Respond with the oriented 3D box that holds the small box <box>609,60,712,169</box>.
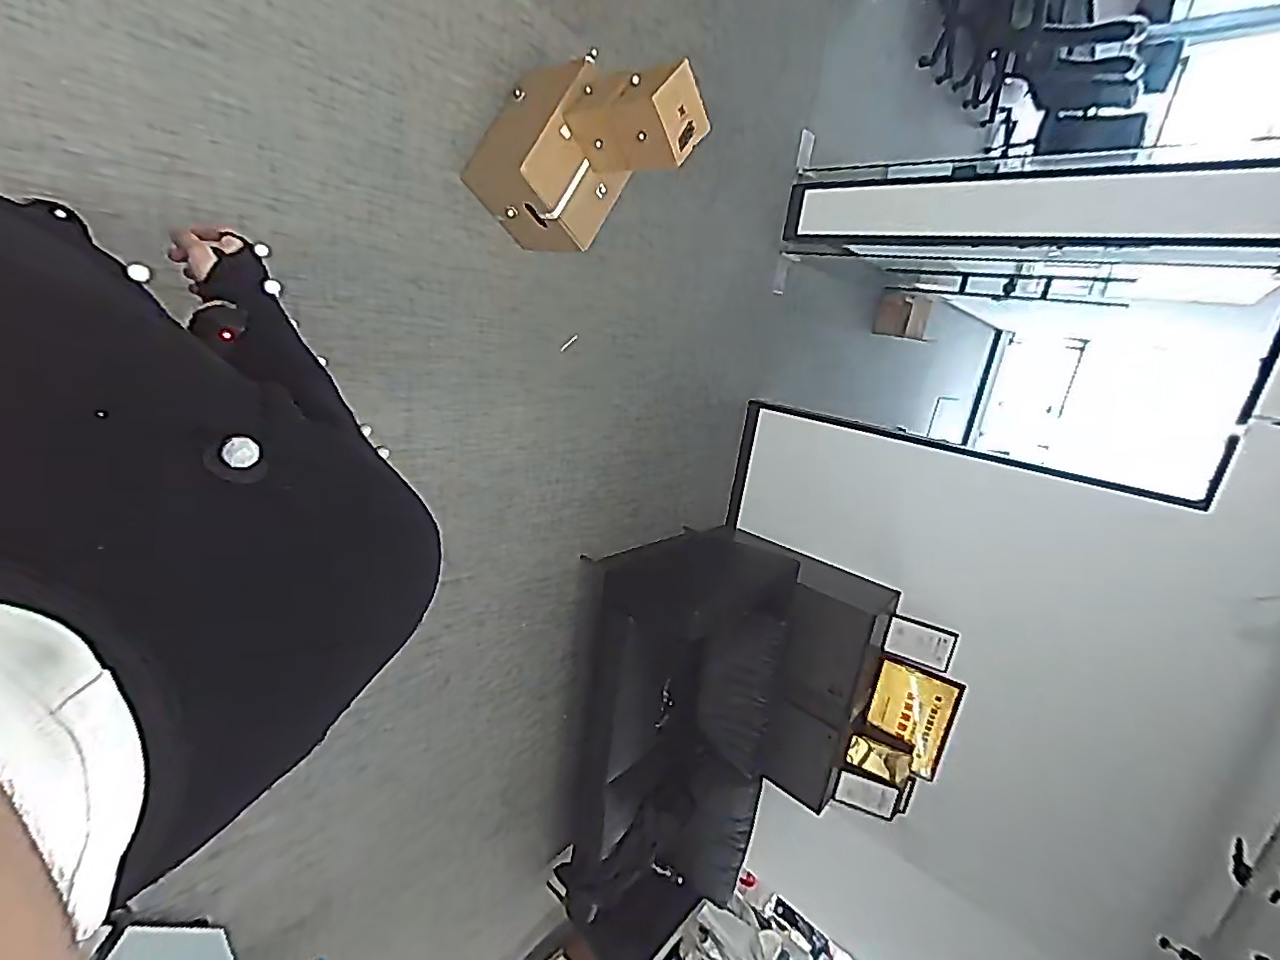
[{"bbox_3d":[0.055,-0.938,1.404,0.168,0.176,0.179,-55,138,-16],"label":"small box"}]
